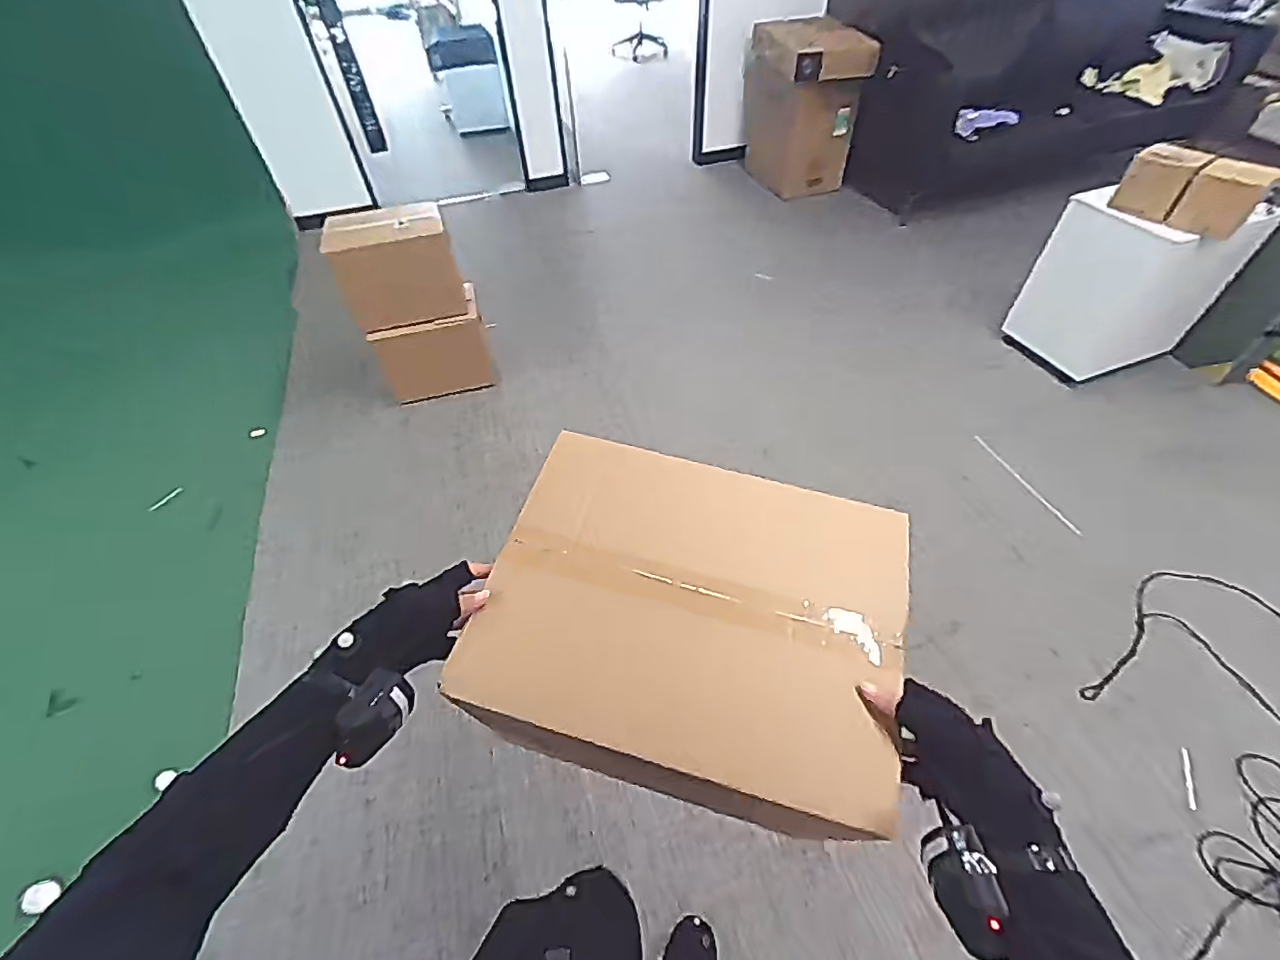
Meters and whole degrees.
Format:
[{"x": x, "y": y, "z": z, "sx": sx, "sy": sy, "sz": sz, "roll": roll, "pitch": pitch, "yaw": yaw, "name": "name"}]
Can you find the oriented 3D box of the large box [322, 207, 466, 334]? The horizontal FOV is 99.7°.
[{"x": -0.898, "y": -0.781, "z": 2.014, "sx": 0.408, "sy": 0.320, "sz": 0.320, "roll": -14, "pitch": 47, "yaw": -11, "name": "large box"}]
